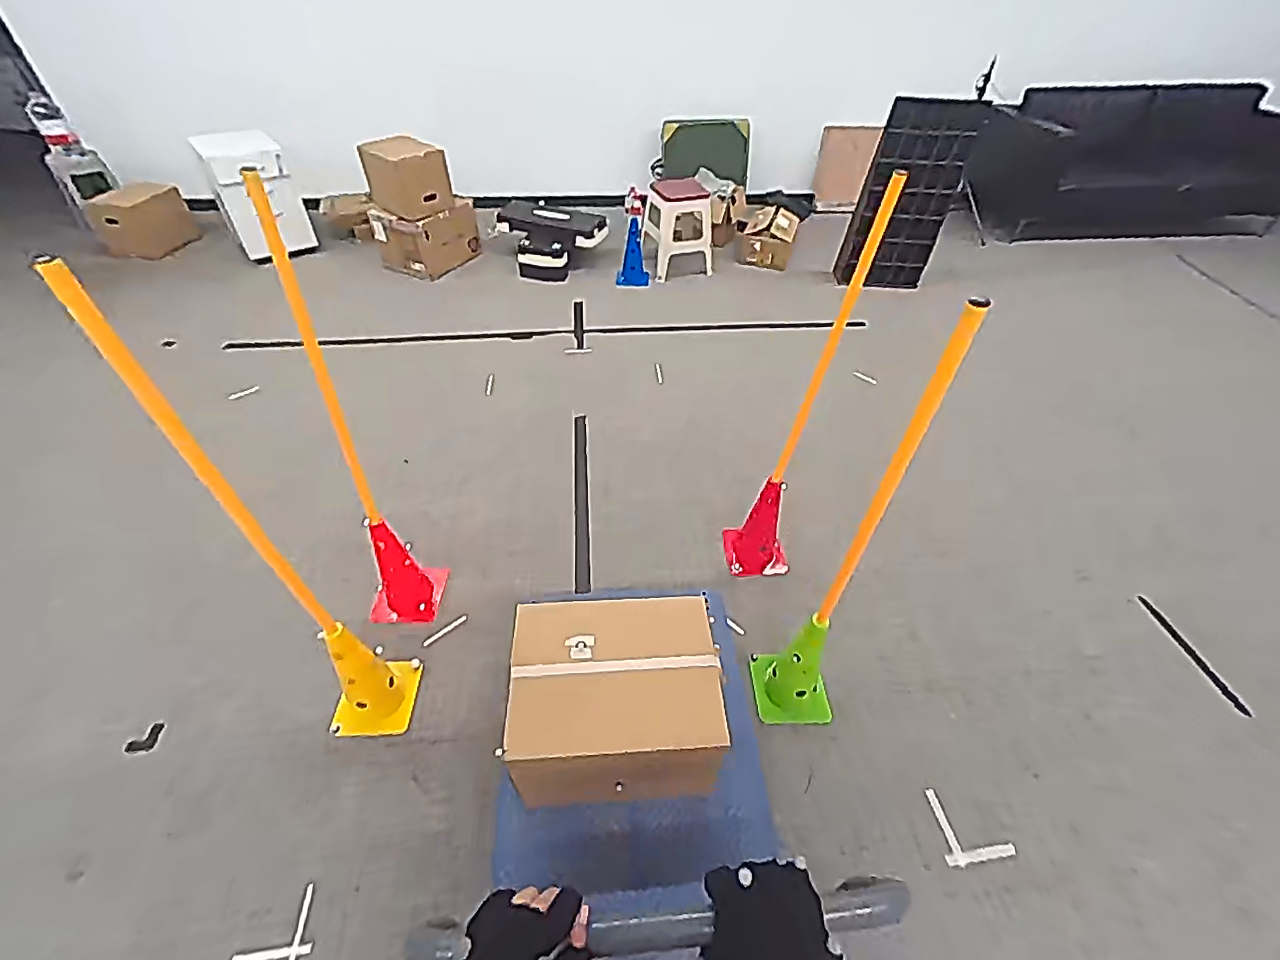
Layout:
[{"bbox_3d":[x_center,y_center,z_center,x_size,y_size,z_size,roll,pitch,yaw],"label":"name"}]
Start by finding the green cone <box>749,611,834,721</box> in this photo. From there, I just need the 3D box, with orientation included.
[{"bbox_3d":[0.428,0.459,1.407,0.202,0.368,0.200,1,45,-3],"label":"green cone"}]

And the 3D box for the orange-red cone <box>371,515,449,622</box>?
[{"bbox_3d":[-0.715,0.232,1.591,0.198,0.360,0.199,3,43,0],"label":"orange-red cone"}]

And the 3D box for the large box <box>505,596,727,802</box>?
[{"bbox_3d":[-0.051,0.474,1.168,0.408,0.320,0.320,-2,45,-3],"label":"large box"}]

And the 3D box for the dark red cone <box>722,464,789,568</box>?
[{"bbox_3d":[0.403,0.106,1.739,0.201,0.394,0.202,-1,45,-6],"label":"dark red cone"}]
